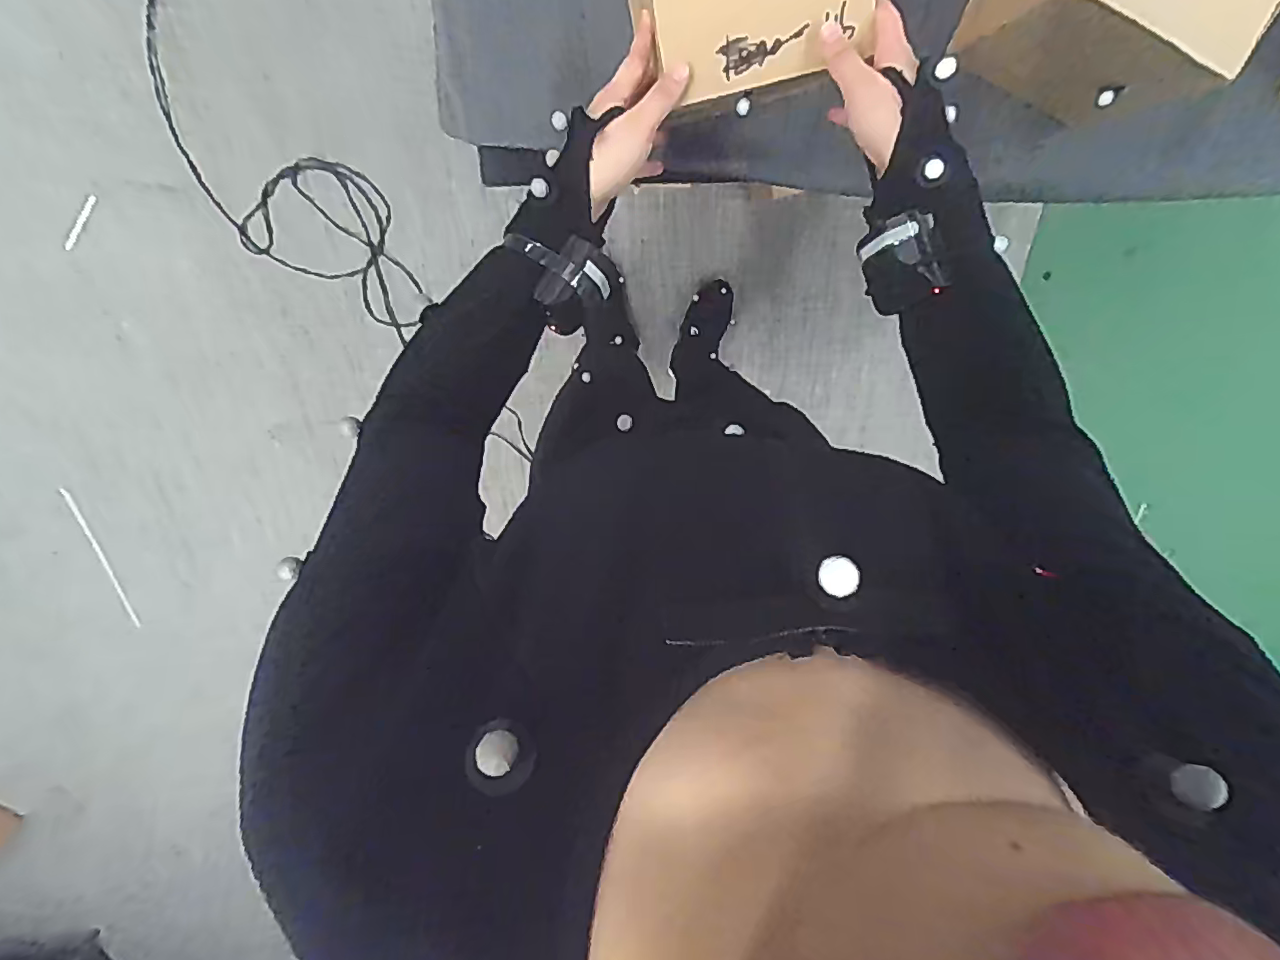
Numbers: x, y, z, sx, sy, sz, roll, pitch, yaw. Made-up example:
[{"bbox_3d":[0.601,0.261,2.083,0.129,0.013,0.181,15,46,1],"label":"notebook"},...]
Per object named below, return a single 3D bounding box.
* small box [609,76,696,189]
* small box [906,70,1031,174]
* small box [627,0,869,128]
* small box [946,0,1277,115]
[{"bbox_3d":[0.021,-0.711,1.125,0.168,0.176,0.179,1,115,-5],"label":"small box"},{"bbox_3d":[0.698,-0.764,1.160,0.168,0.176,0.179,-8,116,-2],"label":"small box"},{"bbox_3d":[0.075,-0.418,0.451,0.168,0.176,0.179,-12,120,3],"label":"small box"},{"bbox_3d":[0.424,-0.453,0.475,0.179,0.176,0.168,16,110,-11],"label":"small box"}]
